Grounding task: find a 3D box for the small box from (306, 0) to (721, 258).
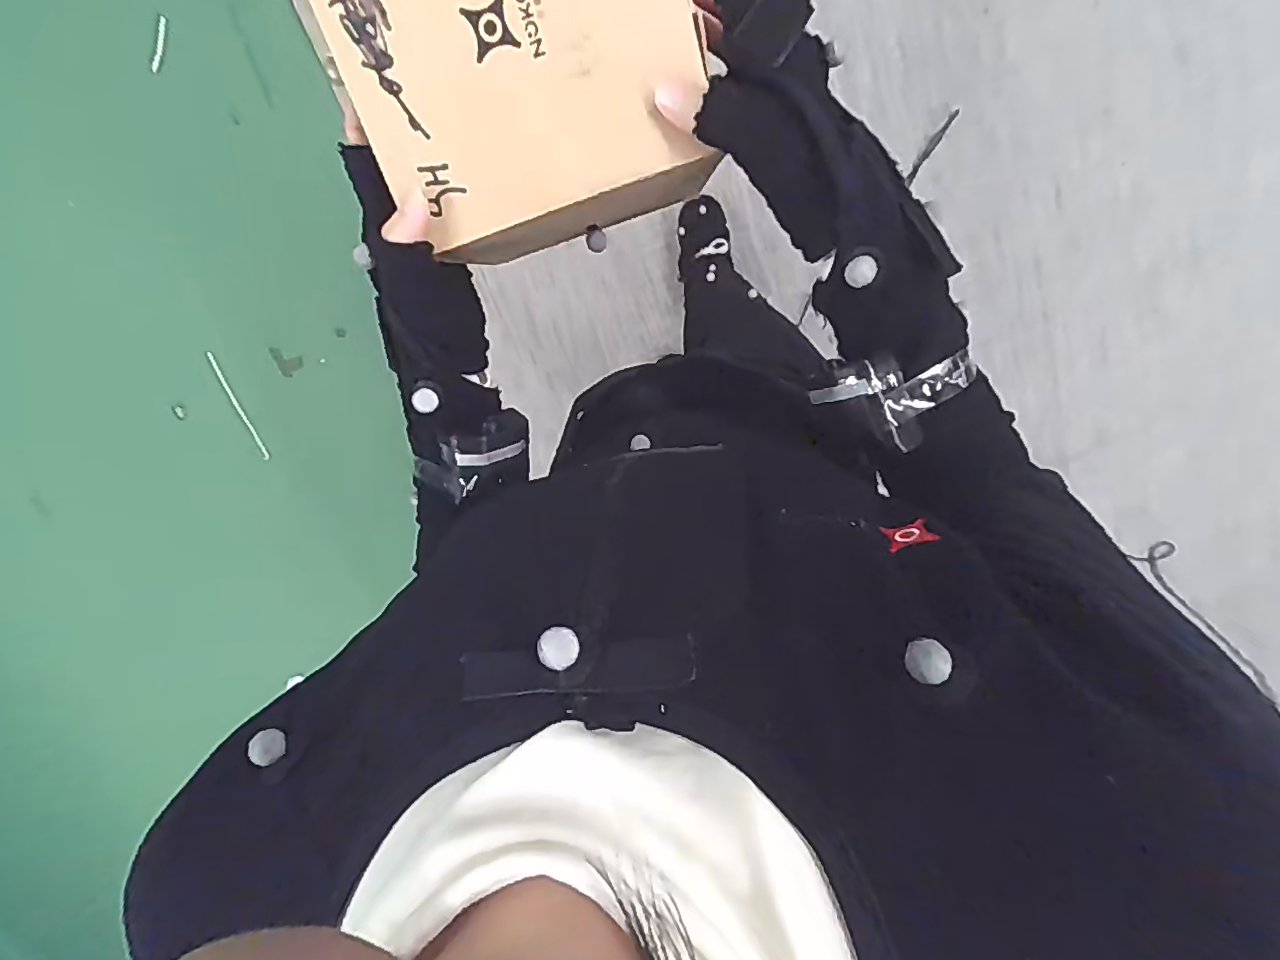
[{"bbox_3d":[-0.065,-0.252,0.336,0.179,0.176,0.168,-18,110,8],"label":"small box"}]
